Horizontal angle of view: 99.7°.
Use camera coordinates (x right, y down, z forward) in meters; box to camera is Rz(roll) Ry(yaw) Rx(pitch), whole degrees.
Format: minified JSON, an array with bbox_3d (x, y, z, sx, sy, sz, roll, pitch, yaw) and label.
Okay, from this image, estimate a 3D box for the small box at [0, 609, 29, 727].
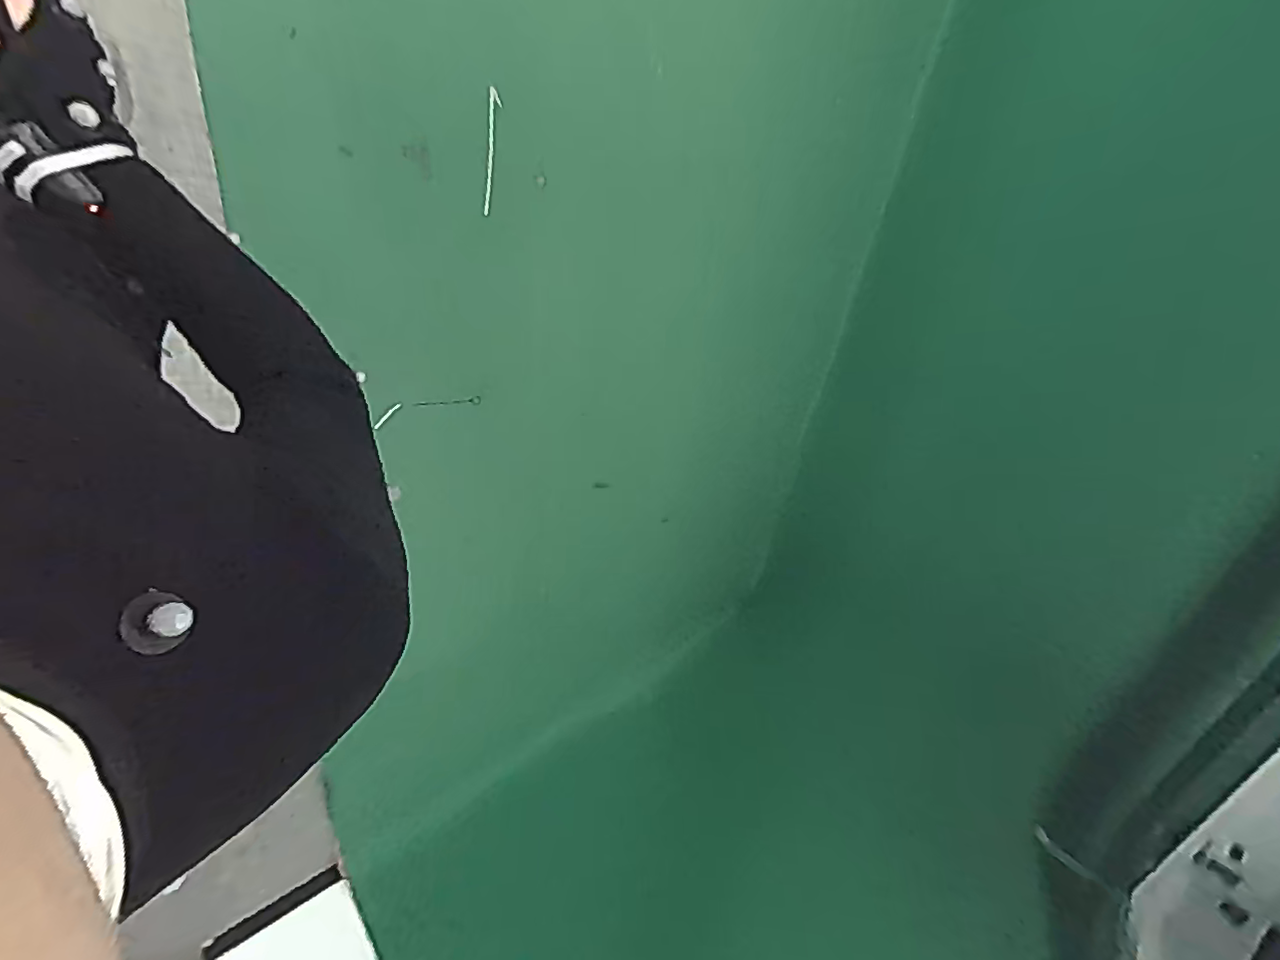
[{"bbox_3d":[-1.346,0.387,1.067,0.168,0.176,0.179,-9,122,-44],"label":"small box"}]
